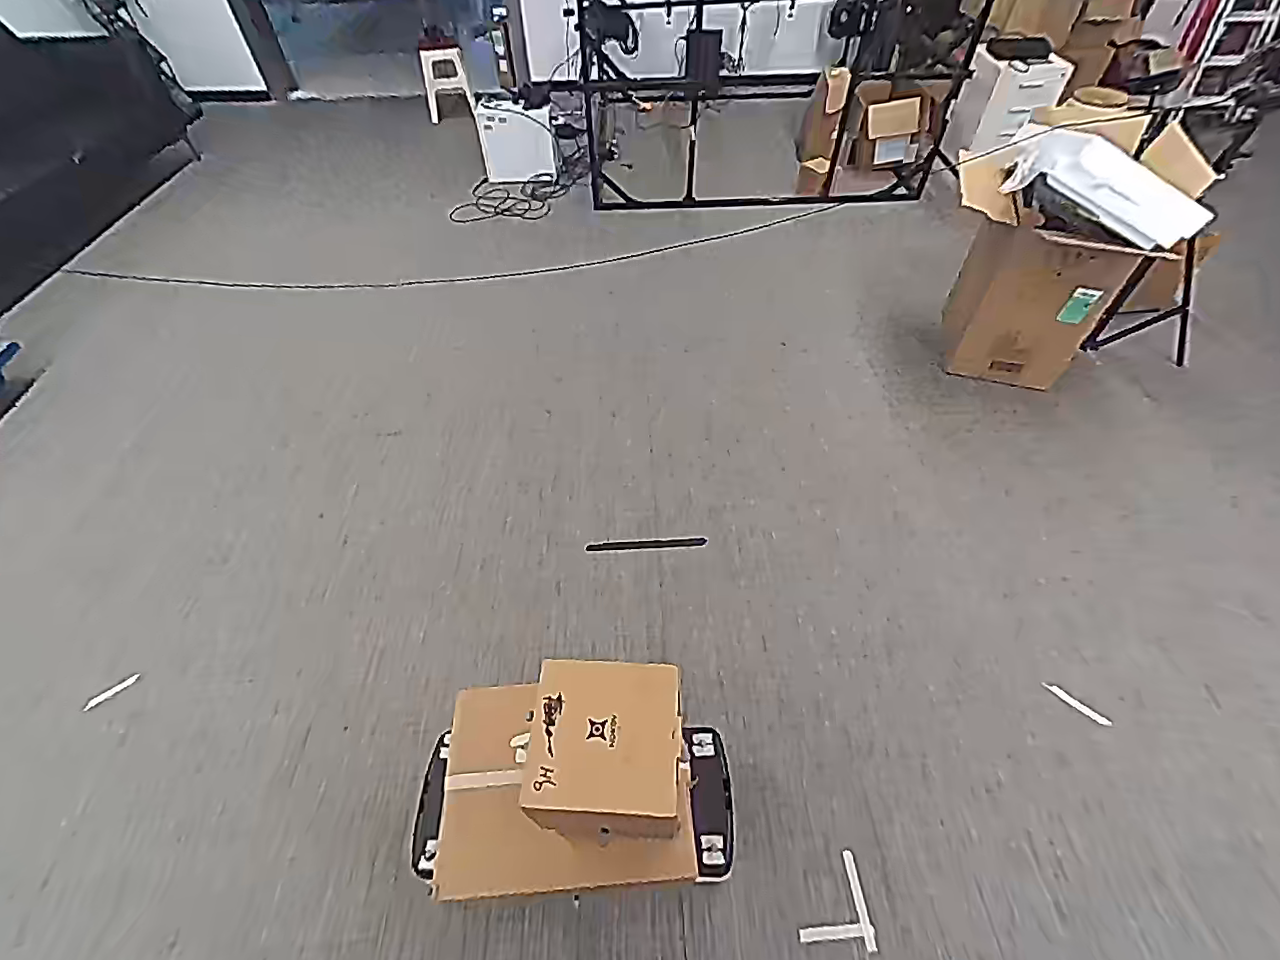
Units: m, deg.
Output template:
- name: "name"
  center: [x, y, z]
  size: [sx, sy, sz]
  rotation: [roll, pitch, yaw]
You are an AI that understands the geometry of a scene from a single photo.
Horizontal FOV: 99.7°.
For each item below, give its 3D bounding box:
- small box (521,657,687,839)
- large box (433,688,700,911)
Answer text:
- name: "small box"
  center: [-0.036, 0.341, 0.683]
  size: [0.179, 0.176, 0.168]
  rotation: [3, 49, 3]
- name: "large box"
  center: [-0.114, 0.589, 1.010]
  size: [0.408, 0.320, 0.320]
  rotation: [-4, 49, -1]
